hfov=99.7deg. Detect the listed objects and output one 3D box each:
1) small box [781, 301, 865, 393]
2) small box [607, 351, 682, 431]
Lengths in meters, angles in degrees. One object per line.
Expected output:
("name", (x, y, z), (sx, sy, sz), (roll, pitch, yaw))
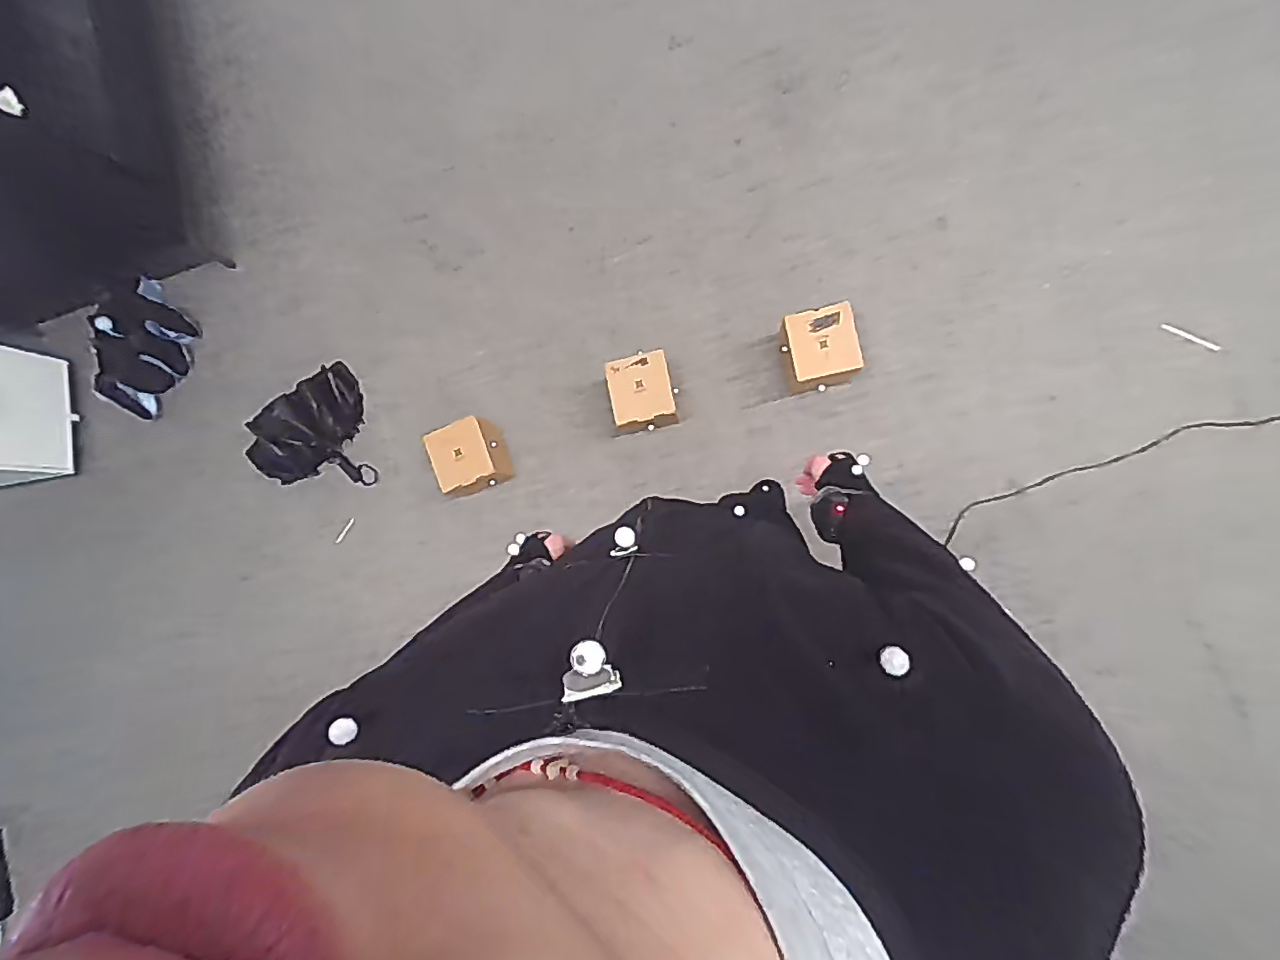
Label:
("small box", (0.478, -0.347, 1.439), (0.168, 0.176, 0.179), (-12, 86, 10))
("small box", (0.019, -0.241, 1.512), (0.168, 0.176, 0.179), (-12, 85, 9))
